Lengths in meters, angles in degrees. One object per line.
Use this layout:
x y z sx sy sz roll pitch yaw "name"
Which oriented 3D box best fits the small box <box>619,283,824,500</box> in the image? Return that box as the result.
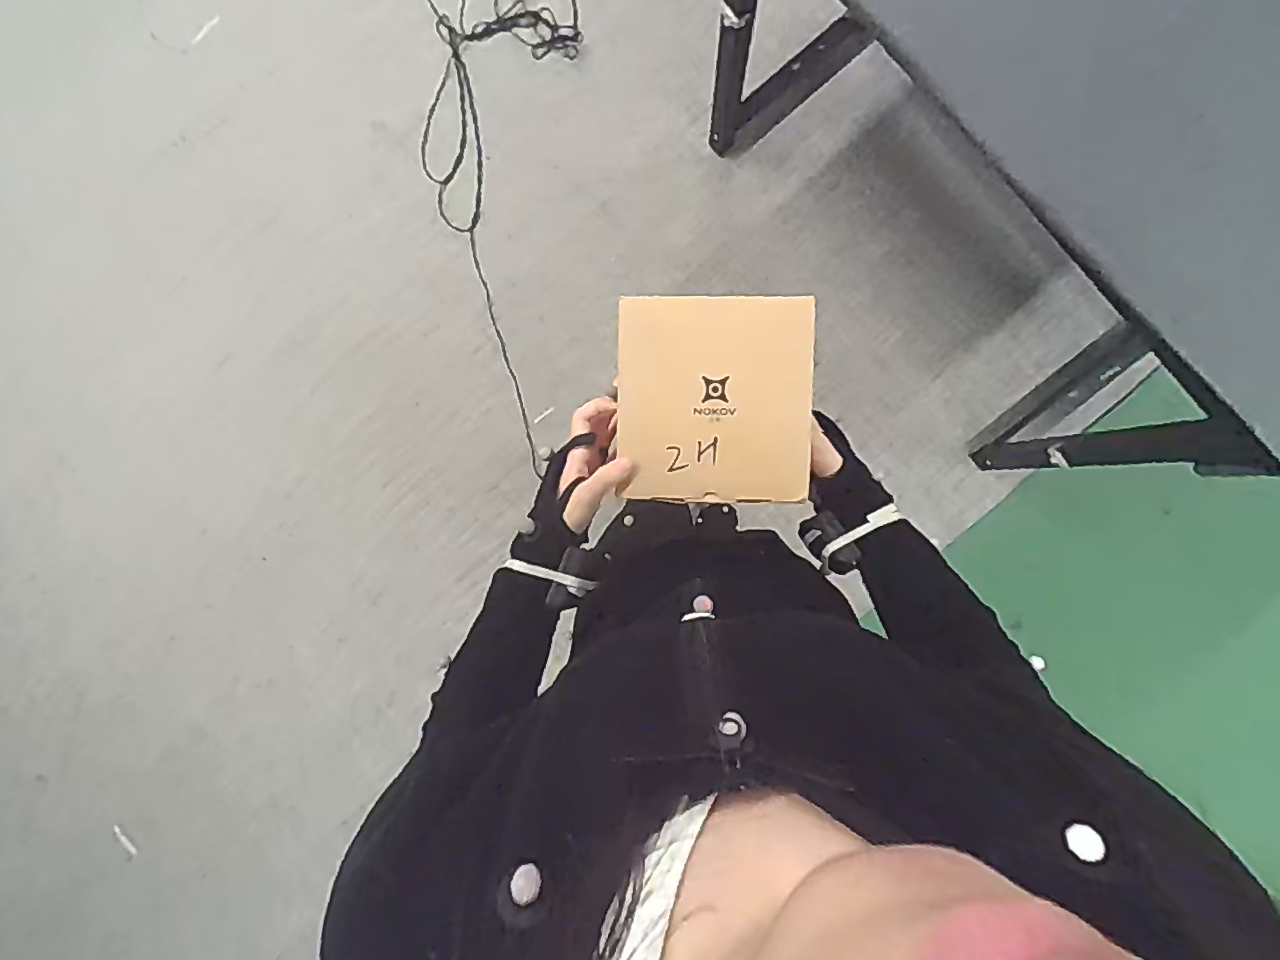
0.068 -0.076 0.527 0.168 0.176 0.179 2 93 2 "small box"
